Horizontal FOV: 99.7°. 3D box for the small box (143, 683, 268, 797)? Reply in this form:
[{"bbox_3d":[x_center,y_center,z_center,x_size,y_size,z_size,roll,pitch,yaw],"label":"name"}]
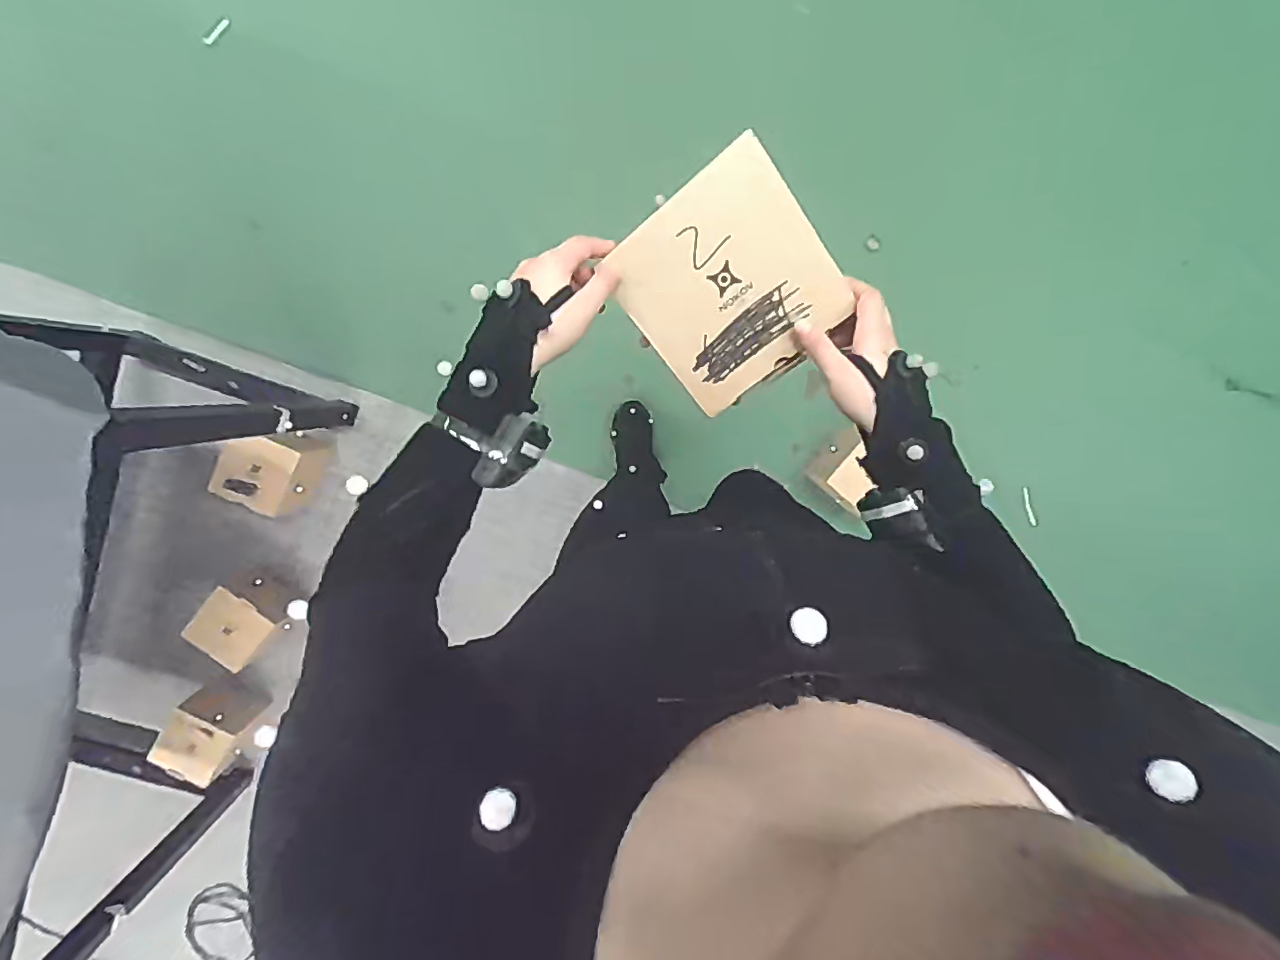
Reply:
[{"bbox_3d":[-1.146,0.686,1.442,0.168,0.176,0.179,32,97,-7],"label":"small box"}]

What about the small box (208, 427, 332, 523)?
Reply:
[{"bbox_3d":[-0.905,-0.019,1.340,0.168,0.176,0.179,25,96,-6],"label":"small box"}]

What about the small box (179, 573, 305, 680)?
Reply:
[{"bbox_3d":[-1.012,0.369,1.397,0.168,0.176,0.179,40,97,-7],"label":"small box"}]

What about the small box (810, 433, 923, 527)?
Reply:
[{"bbox_3d":[0.576,-0.007,1.402,0.179,0.176,0.168,39,96,-8],"label":"small box"}]
